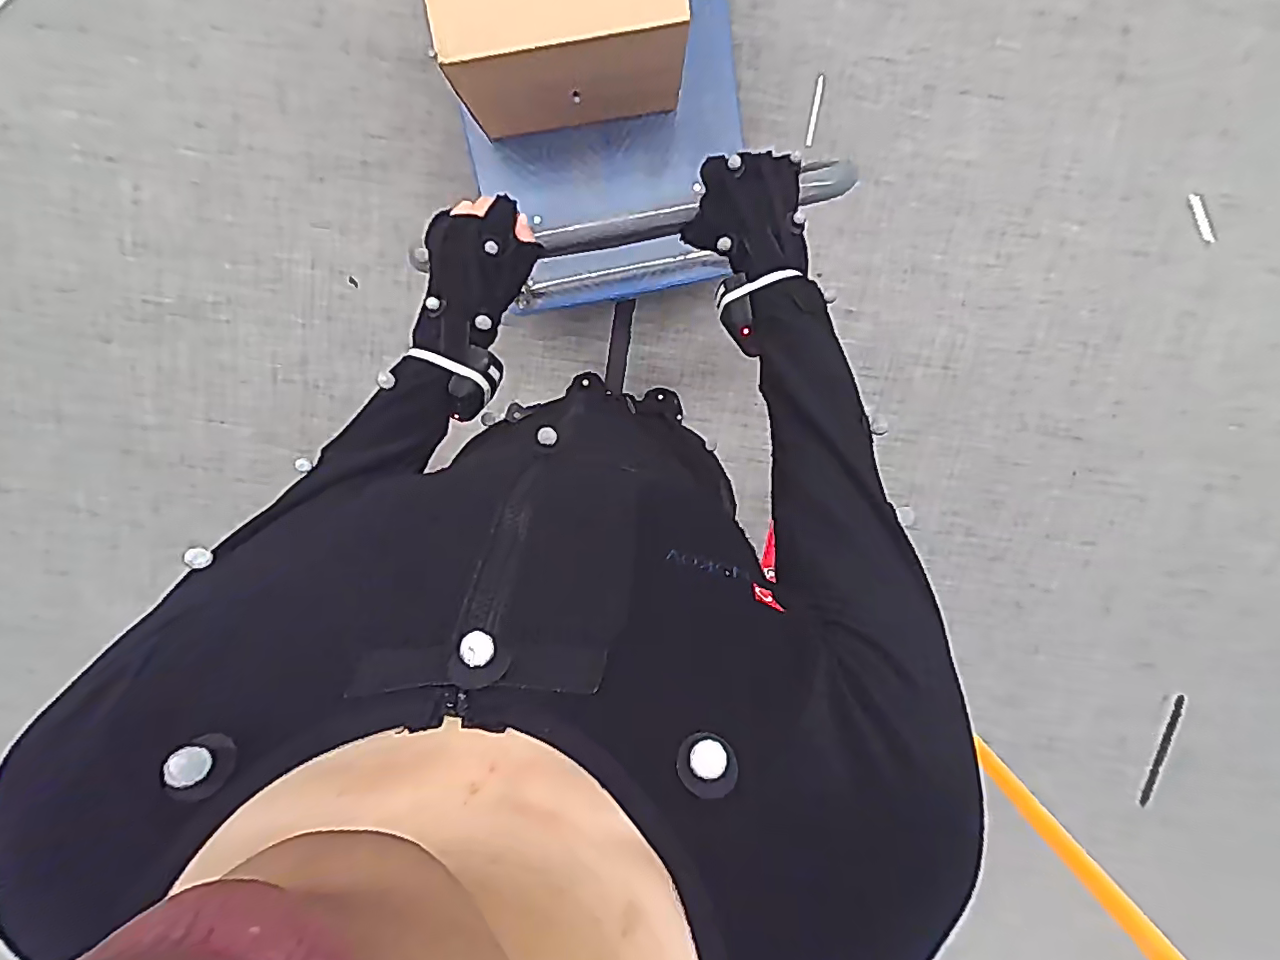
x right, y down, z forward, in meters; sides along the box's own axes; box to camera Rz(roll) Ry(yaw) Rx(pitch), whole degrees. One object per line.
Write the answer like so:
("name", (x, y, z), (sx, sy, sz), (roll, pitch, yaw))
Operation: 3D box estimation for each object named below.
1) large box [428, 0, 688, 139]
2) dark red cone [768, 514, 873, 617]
("large box", (-0.141, -0.864, 0.965), (0.408, 0.320, 0.320), (-9, 102, 3))
("dark red cone", (0.465, 0.232, 1.329), (0.201, 0.394, 0.202), (7, 102, -4))
